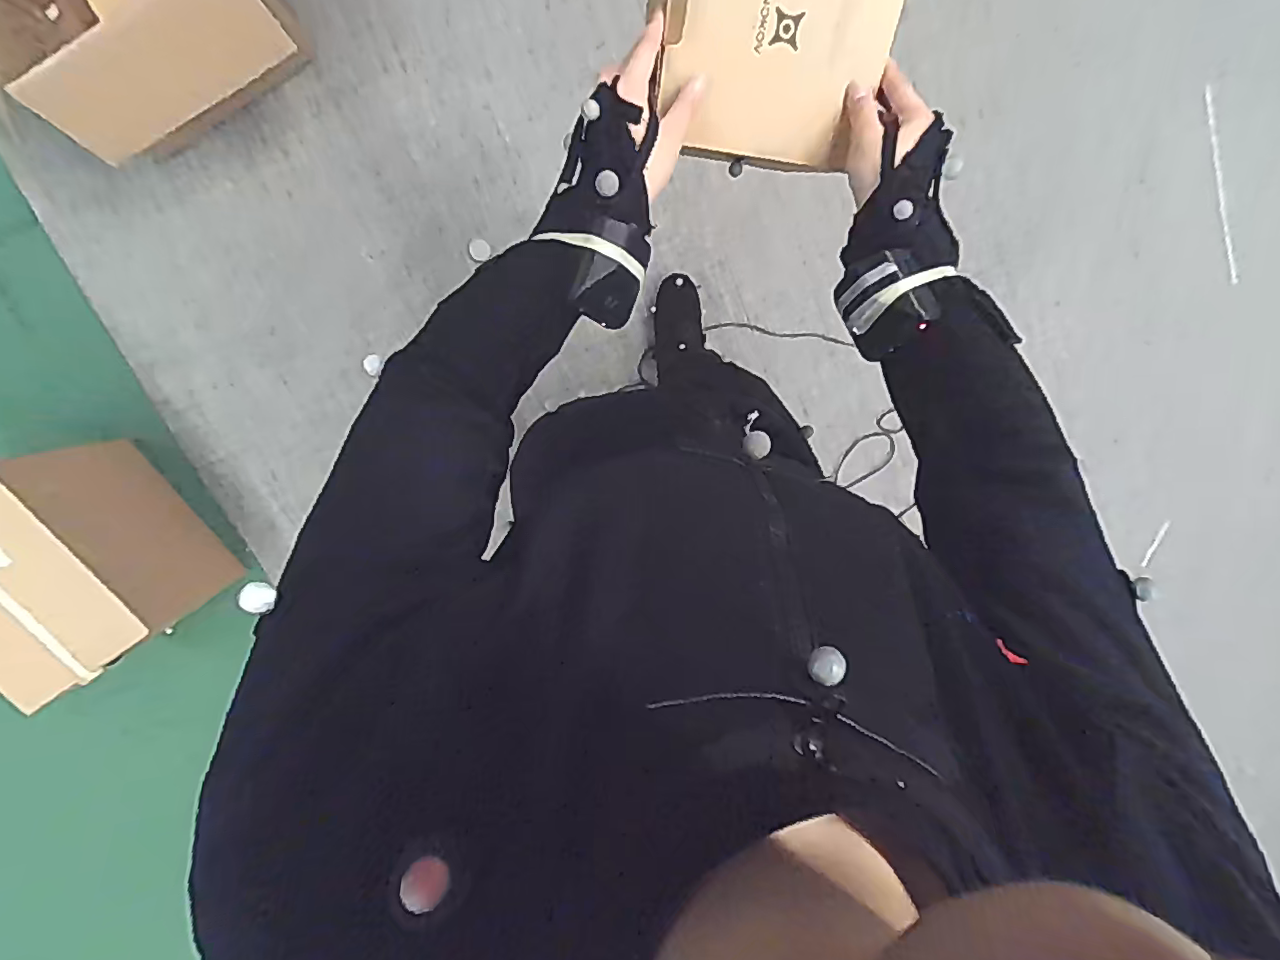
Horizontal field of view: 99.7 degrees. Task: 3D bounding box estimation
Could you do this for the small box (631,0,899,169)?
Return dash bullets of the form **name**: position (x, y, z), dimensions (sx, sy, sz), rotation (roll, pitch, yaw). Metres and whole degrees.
- **small box**: position (0.091, -0.371, 0.462), dimensions (0.179, 0.176, 0.168), rotation (3, 120, -10)
